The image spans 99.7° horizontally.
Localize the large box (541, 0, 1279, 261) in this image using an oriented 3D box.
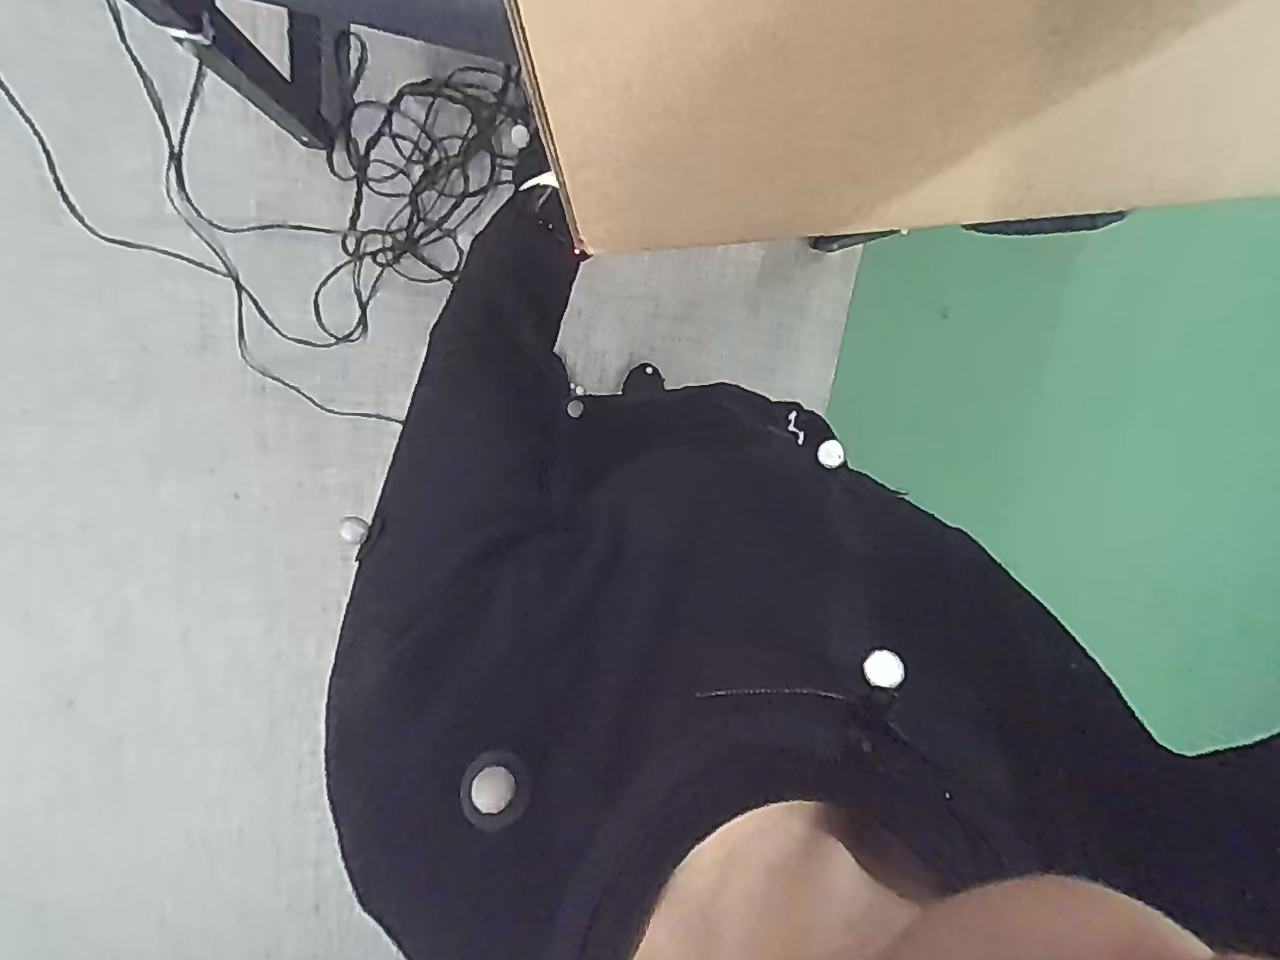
[{"bbox_3d":[0.155,-0.347,0.246,0.408,0.320,0.320,-4,148,9],"label":"large box"}]
